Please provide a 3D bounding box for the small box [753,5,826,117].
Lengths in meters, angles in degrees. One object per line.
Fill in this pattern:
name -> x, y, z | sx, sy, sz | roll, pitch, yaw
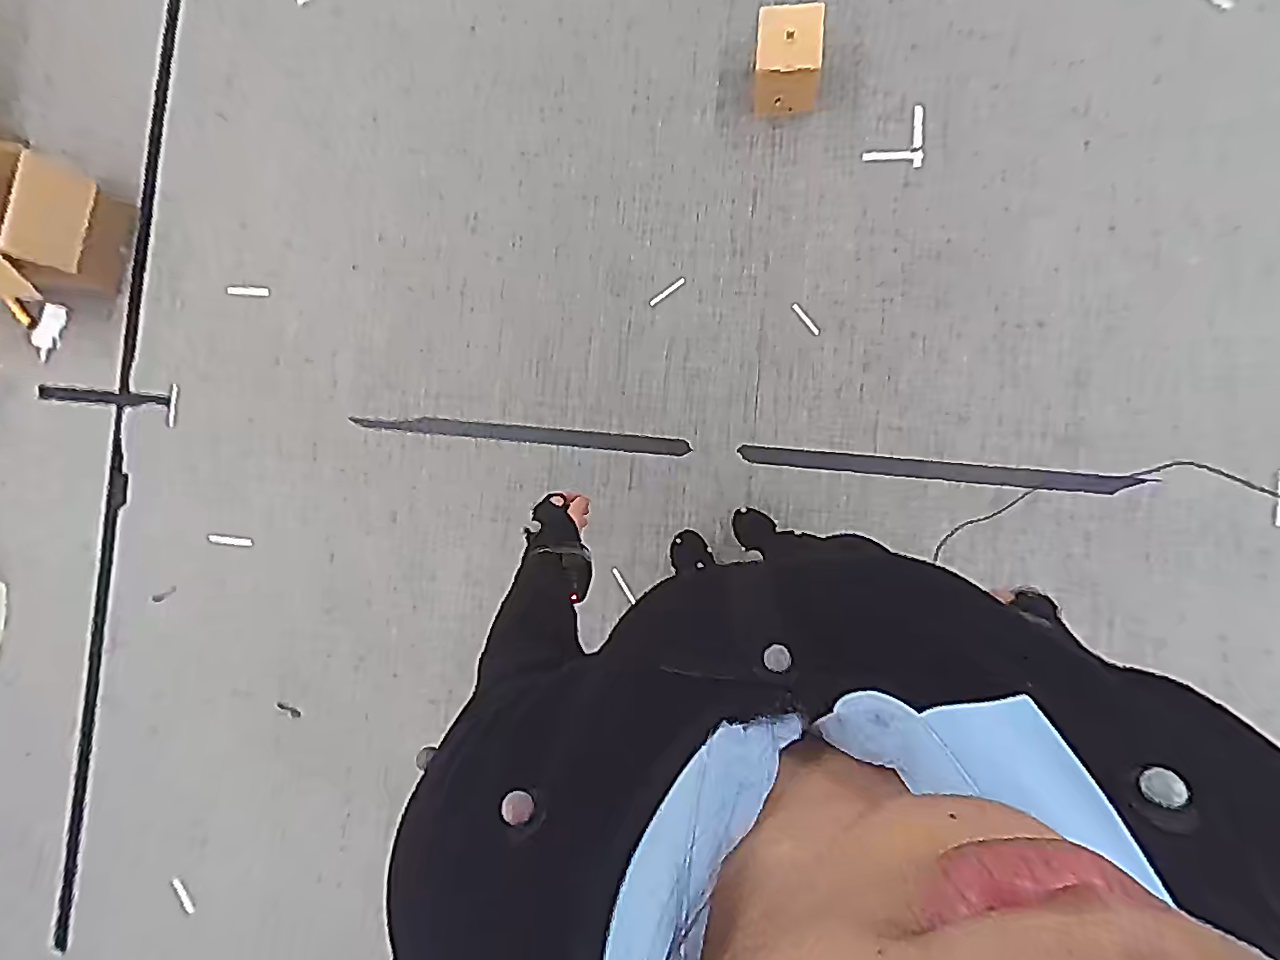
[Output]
small box -> 0.400, -1.130, 1.469 | 0.168, 0.176, 0.179 | 3, 87, 8
